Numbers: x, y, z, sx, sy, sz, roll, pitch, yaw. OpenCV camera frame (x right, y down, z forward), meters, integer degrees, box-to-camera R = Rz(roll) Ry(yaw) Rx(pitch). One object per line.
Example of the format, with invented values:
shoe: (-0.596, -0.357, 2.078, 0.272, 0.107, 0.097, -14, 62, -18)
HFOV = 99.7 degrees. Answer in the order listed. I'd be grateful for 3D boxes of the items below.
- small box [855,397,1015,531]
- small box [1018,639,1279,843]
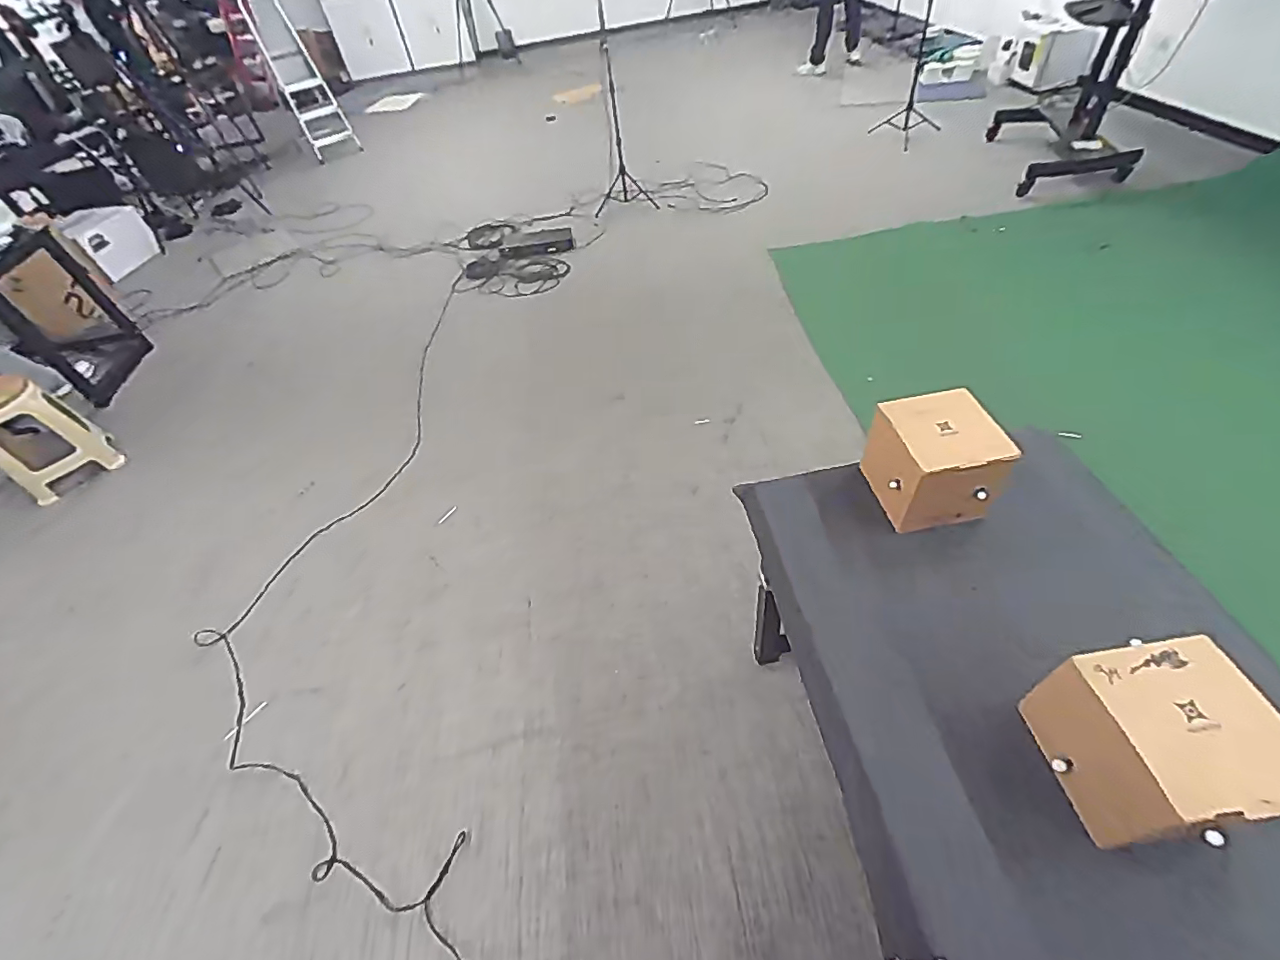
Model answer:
small box: (0.516, -0.023, 0.976, 0.168, 0.176, 0.179, -9, 46, -4)
small box: (0.612, 0.318, 0.650, 0.168, 0.176, 0.179, -8, 48, -2)
